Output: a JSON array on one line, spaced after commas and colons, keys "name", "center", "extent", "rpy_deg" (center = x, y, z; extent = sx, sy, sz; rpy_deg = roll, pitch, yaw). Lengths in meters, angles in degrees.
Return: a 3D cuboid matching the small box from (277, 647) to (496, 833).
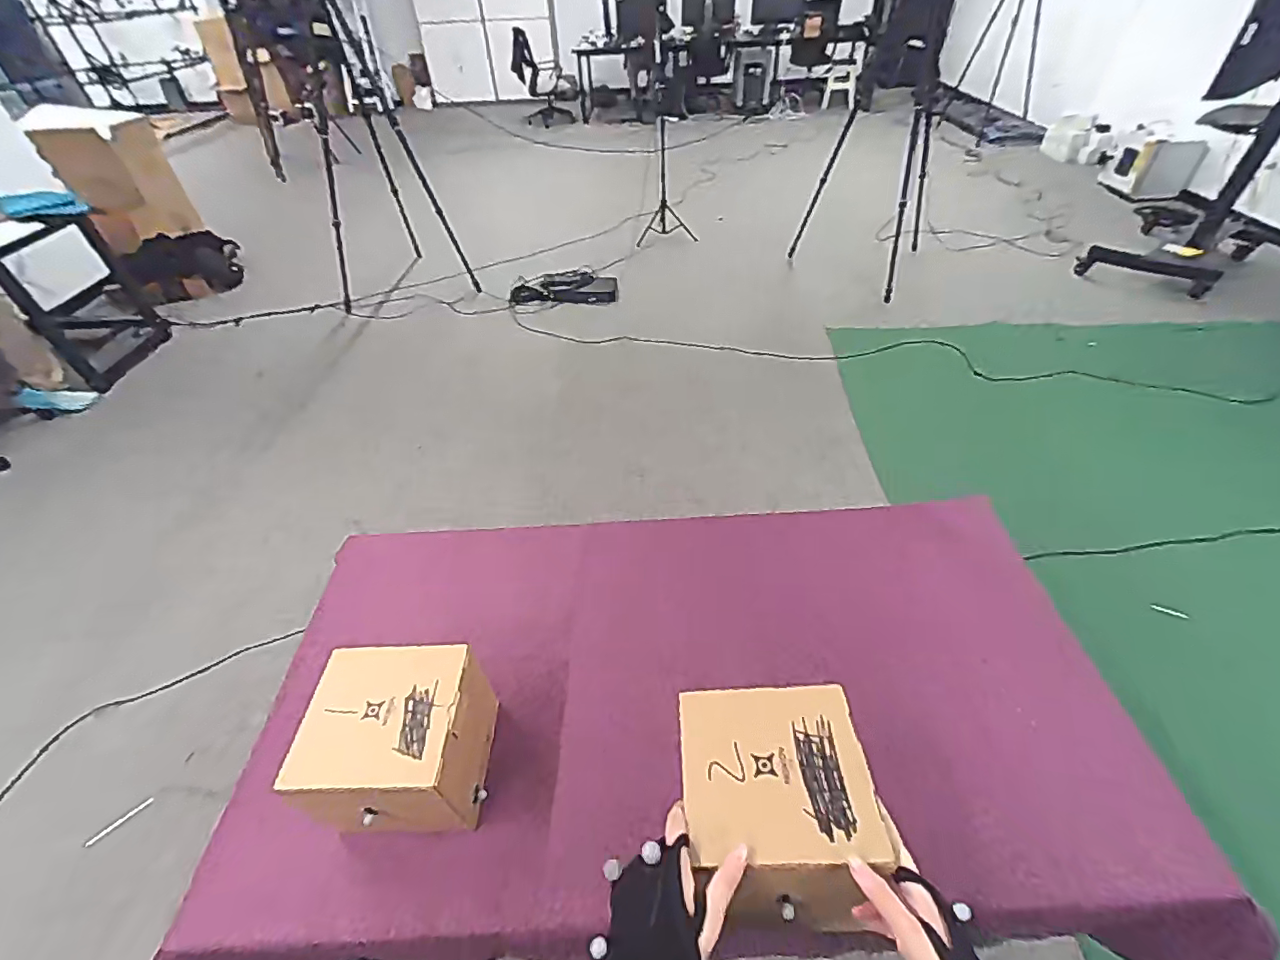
[{"name": "small box", "center": [-0.294, 0.326, 0.679], "extent": [0.179, 0.176, 0.168], "rpy_deg": [-2, 43, 2]}]
